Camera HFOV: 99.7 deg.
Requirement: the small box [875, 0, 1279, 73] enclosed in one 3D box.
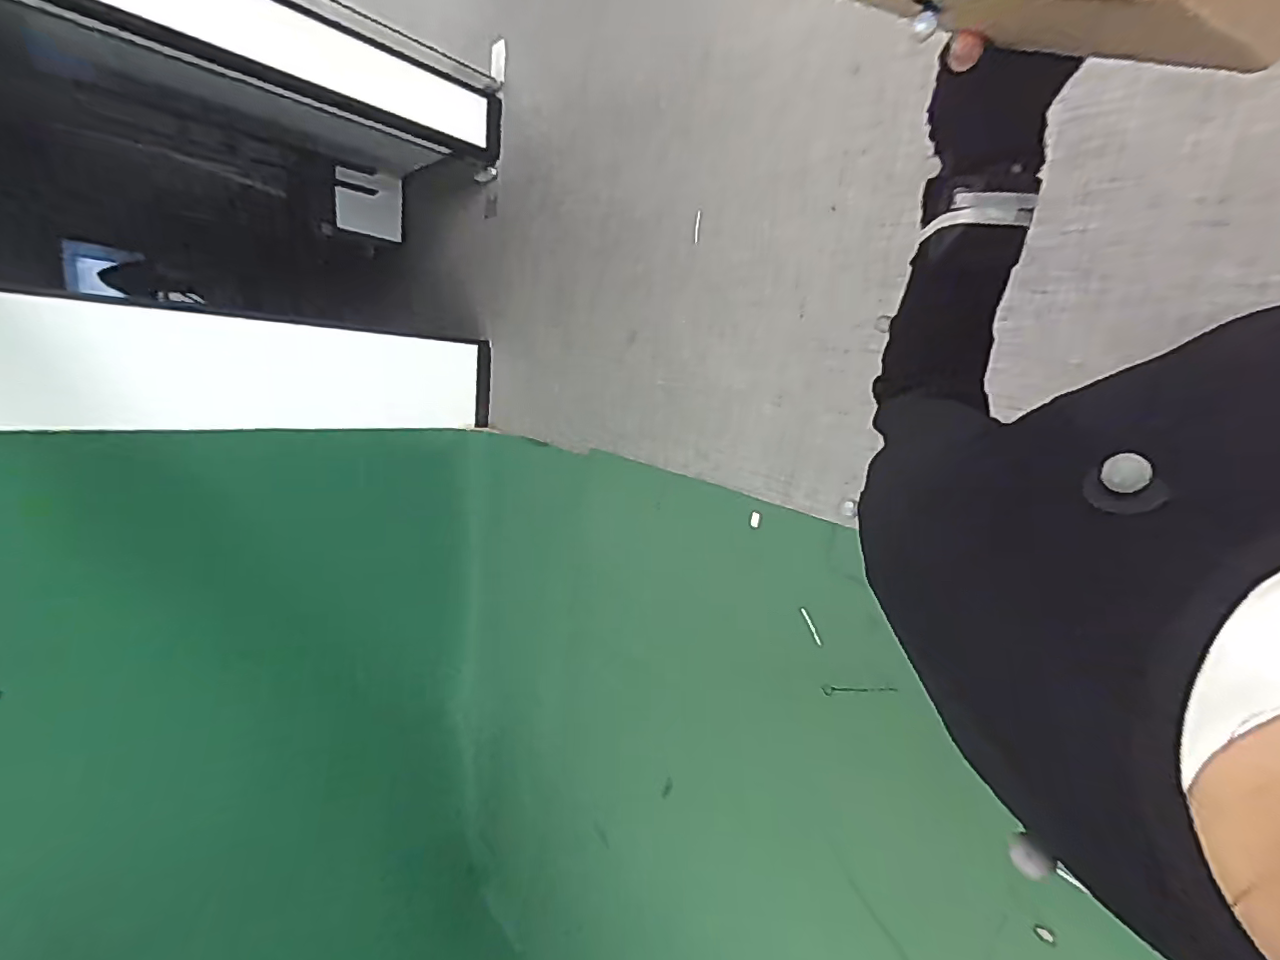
[{"bbox_3d":[0.202,-0.294,0.218,0.168,0.176,0.179,45,138,36],"label":"small box"}]
